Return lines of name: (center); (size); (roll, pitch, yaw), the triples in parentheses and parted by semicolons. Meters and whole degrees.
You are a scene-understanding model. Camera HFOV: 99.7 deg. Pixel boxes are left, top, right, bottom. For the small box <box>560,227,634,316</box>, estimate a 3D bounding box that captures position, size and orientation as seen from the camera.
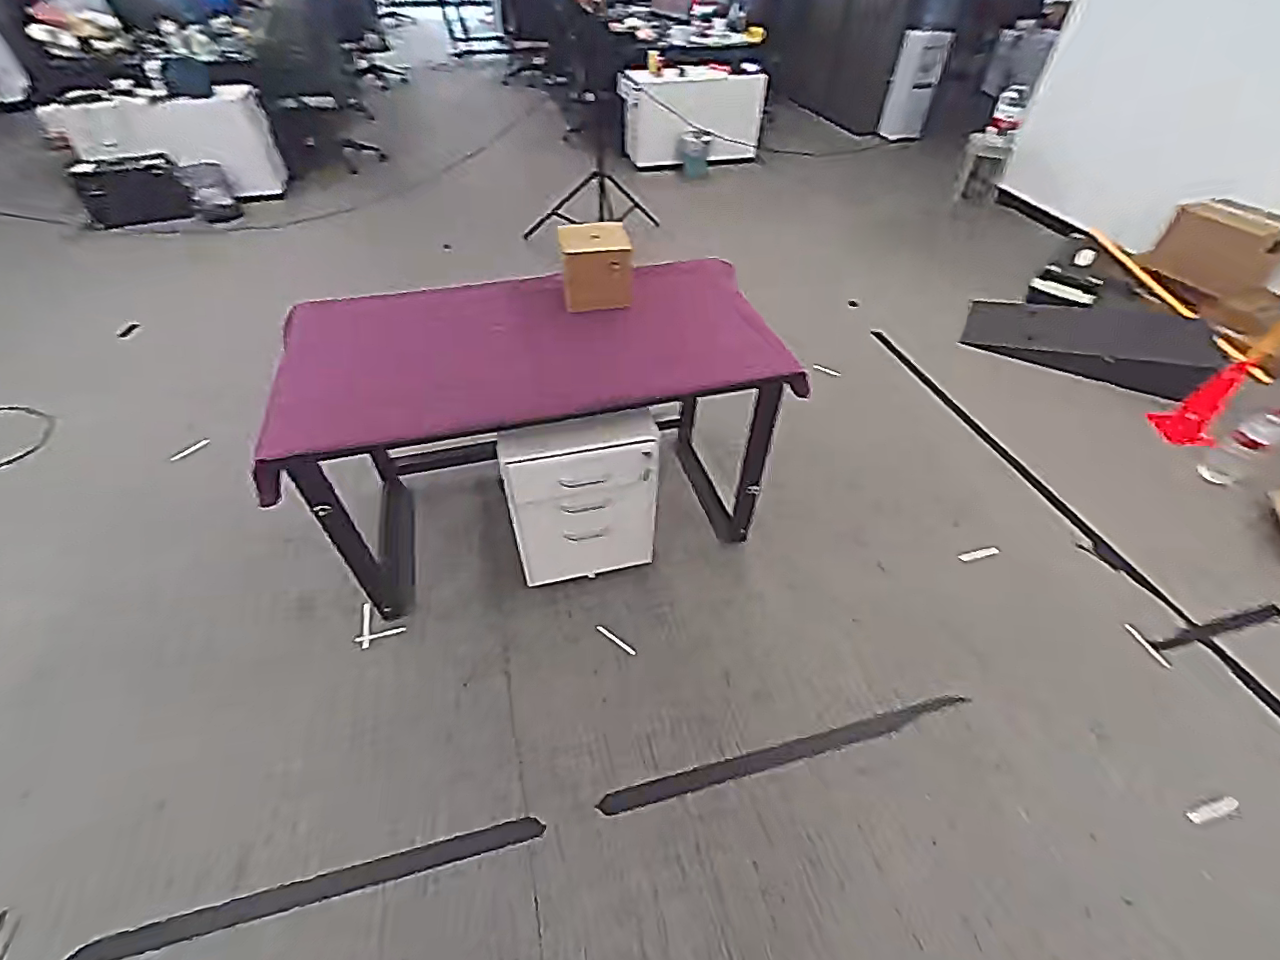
small box: (-0.118, -0.570, 1.480); (0.179, 0.176, 0.168); (-8, 48, -8)
